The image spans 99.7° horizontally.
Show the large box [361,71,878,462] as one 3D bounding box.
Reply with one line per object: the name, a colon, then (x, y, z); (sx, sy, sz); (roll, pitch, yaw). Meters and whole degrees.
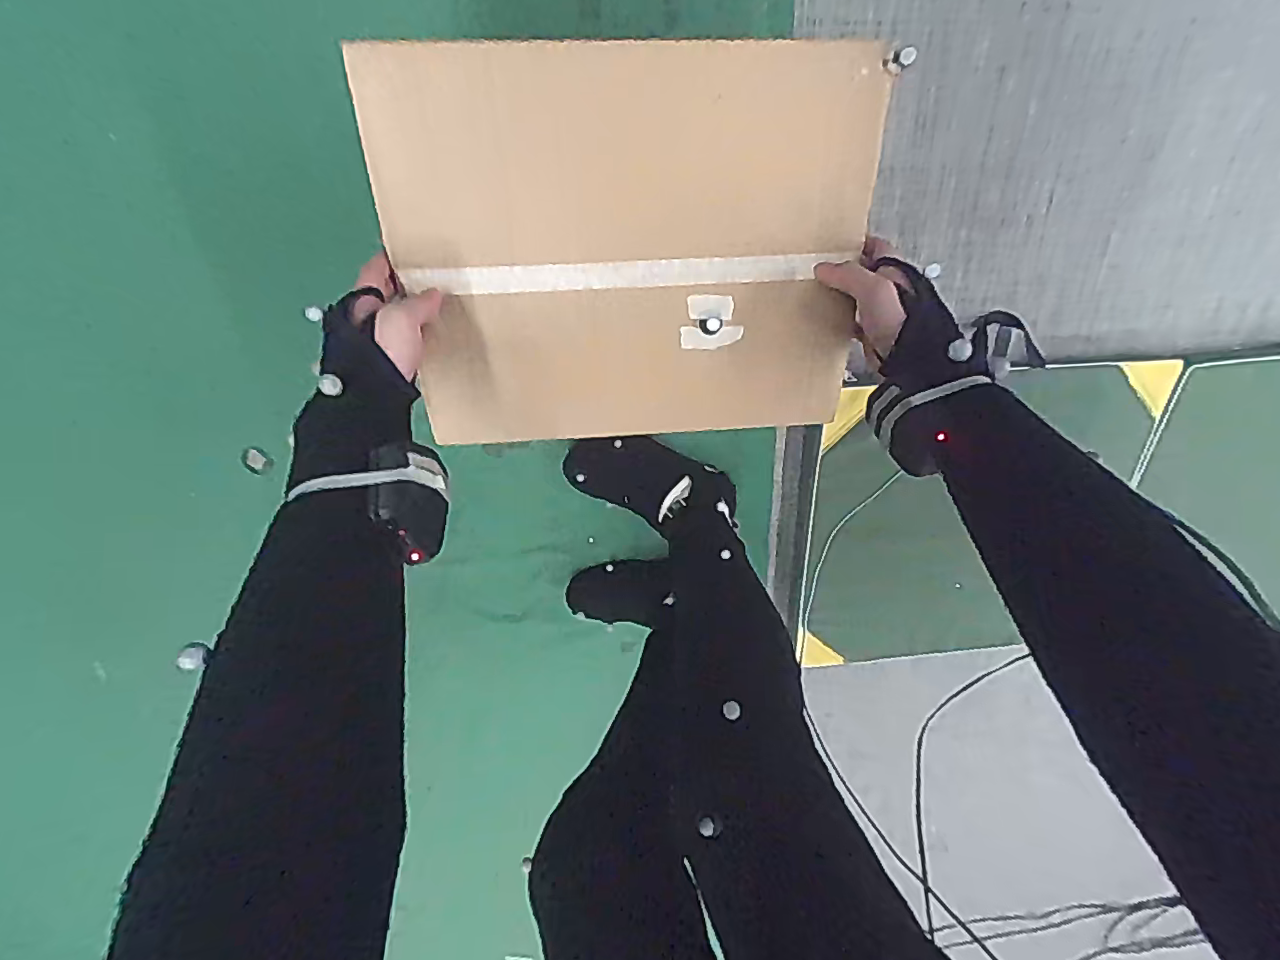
large box: (-0.021, -0.238, 0.609); (0.408, 0.320, 0.320); (-4, 120, -5)
